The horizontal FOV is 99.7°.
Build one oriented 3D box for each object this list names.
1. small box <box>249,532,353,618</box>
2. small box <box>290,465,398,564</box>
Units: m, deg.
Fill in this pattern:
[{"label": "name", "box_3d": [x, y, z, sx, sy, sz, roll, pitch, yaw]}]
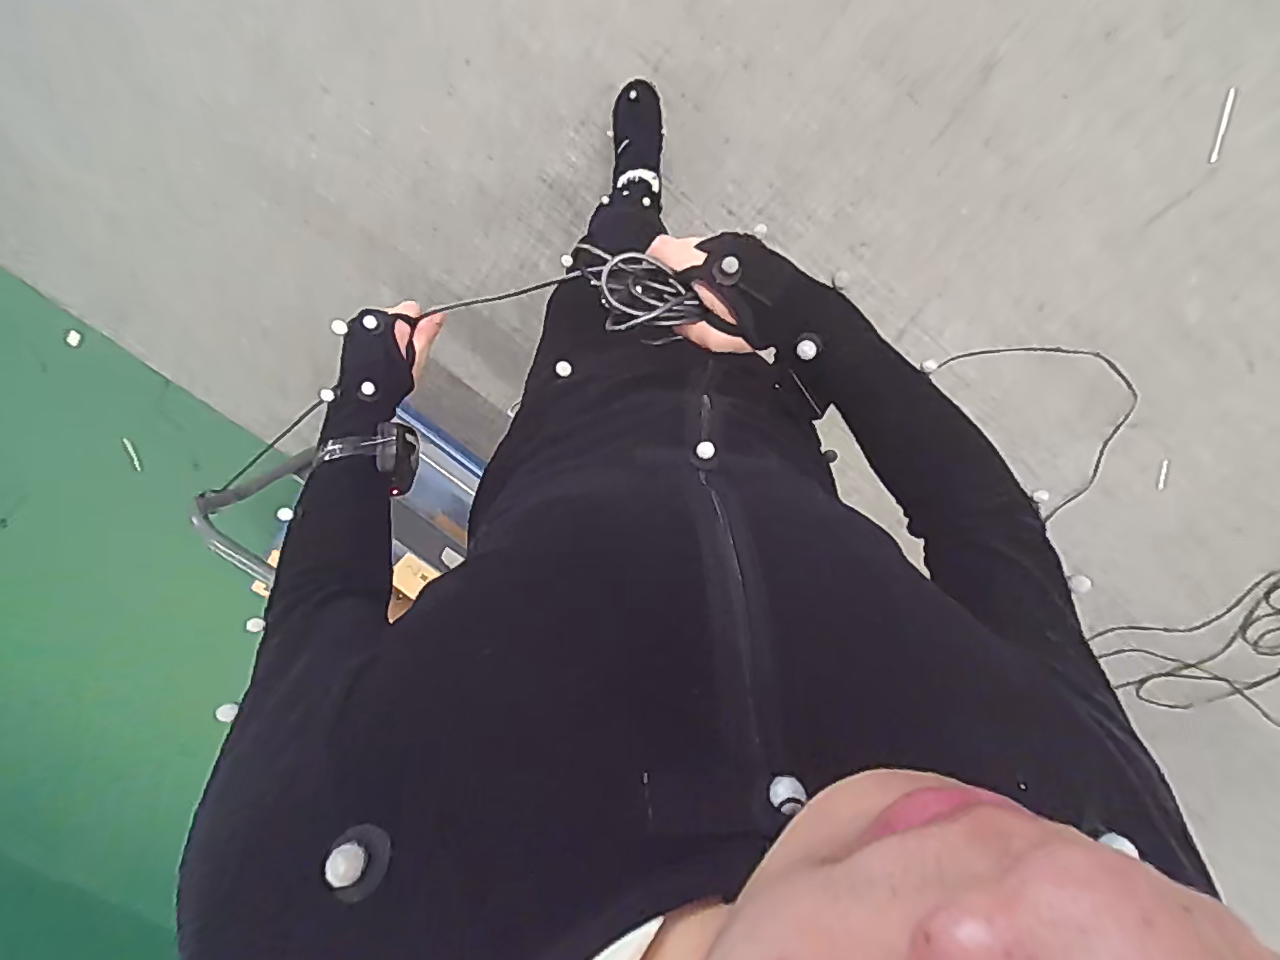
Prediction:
[{"label": "small box", "box_3d": [-0.976, 0.258, 1.572, 0.168, 0.176, 0.179, 37, 111, -14]}, {"label": "small box", "box_3d": [-0.803, 0.091, 1.487, 0.168, 0.176, 0.179, 40, 110, -14]}]
